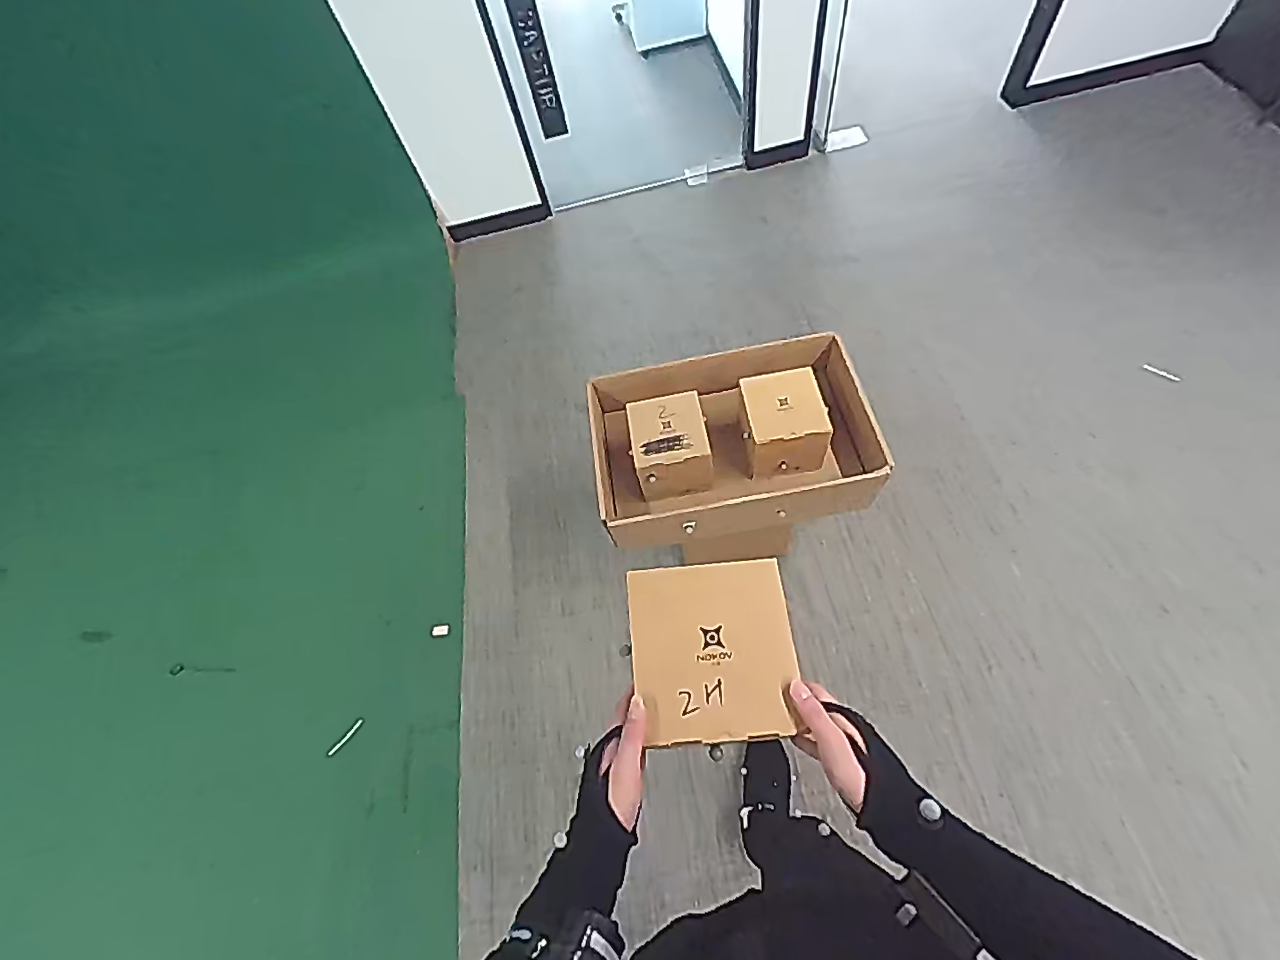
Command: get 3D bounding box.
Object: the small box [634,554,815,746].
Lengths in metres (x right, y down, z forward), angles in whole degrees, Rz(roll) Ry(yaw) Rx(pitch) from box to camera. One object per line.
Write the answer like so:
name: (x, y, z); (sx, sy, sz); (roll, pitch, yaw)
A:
small box: (0.081, 0.198, 0.613); (0.168, 0.176, 0.179); (-5, 63, 1)

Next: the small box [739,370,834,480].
small box: (0.326, -0.123, 1.238); (0.168, 0.176, 0.179); (-9, 61, 3)
